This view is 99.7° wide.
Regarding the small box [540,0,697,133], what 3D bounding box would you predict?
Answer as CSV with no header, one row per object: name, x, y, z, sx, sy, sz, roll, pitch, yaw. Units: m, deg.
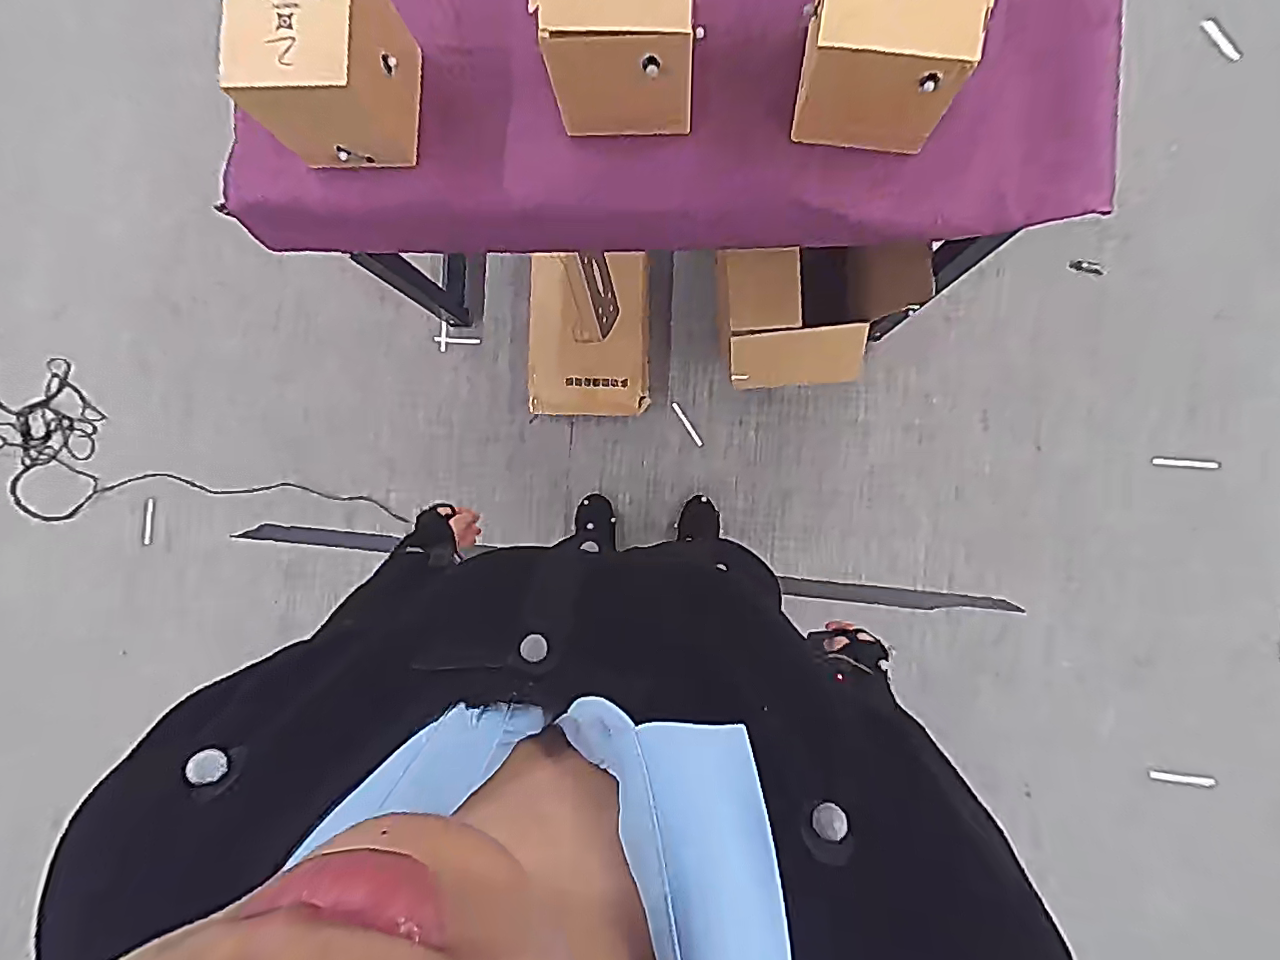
small box,-0.017,-0.571,0.684,0.179,0.176,0.168,2,87,5

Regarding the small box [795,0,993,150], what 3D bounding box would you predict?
small box,0.299,-0.536,0.659,0.179,0.176,0.168,9,90,4
